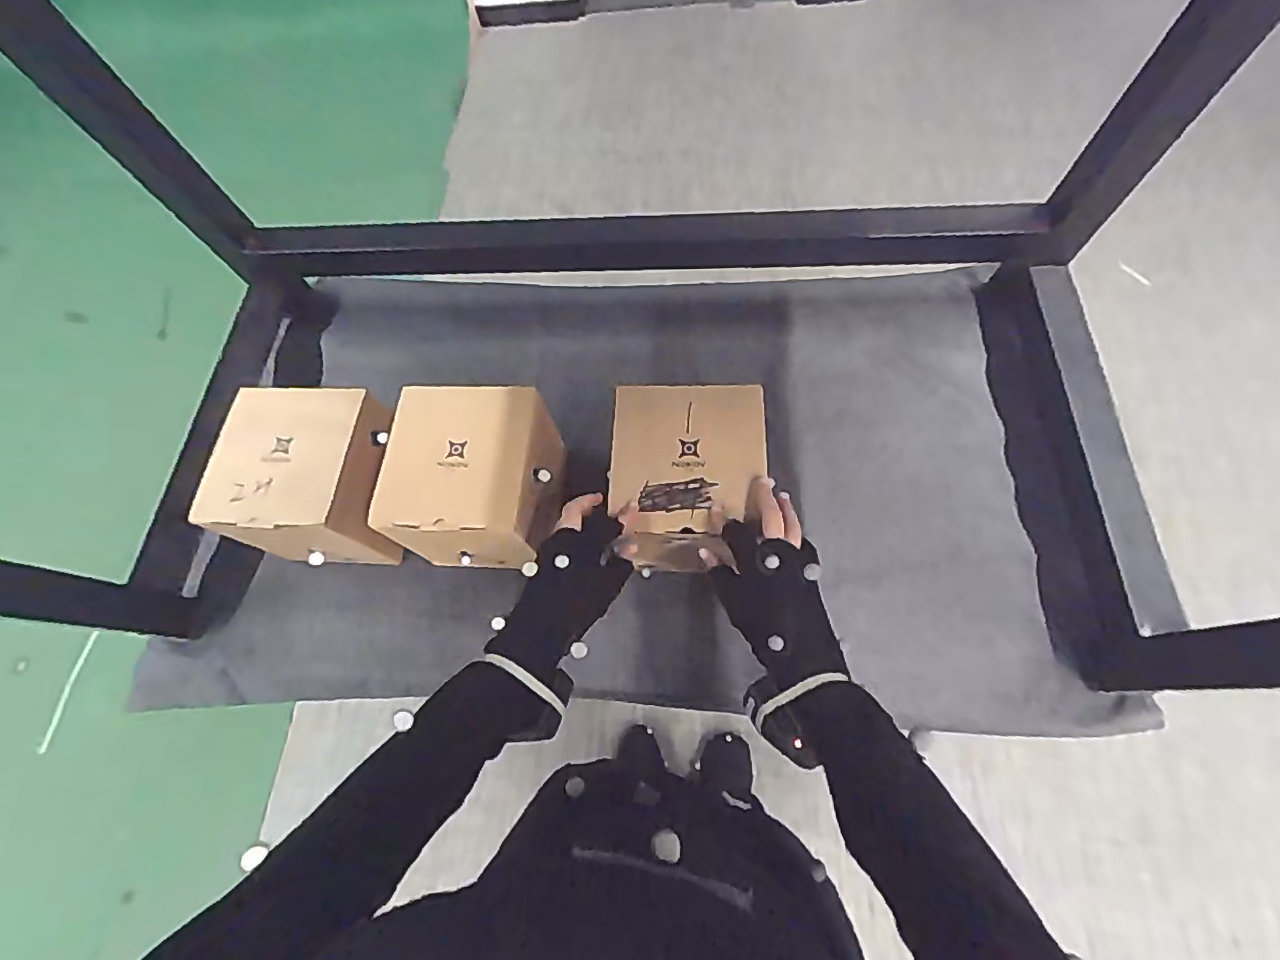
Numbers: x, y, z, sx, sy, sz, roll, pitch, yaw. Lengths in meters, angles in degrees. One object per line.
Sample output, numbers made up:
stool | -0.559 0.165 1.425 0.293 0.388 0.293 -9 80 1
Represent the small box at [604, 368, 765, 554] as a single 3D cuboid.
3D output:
small box | 0.057 -0.013 0.645 0.168 0.176 0.179 0 68 6
